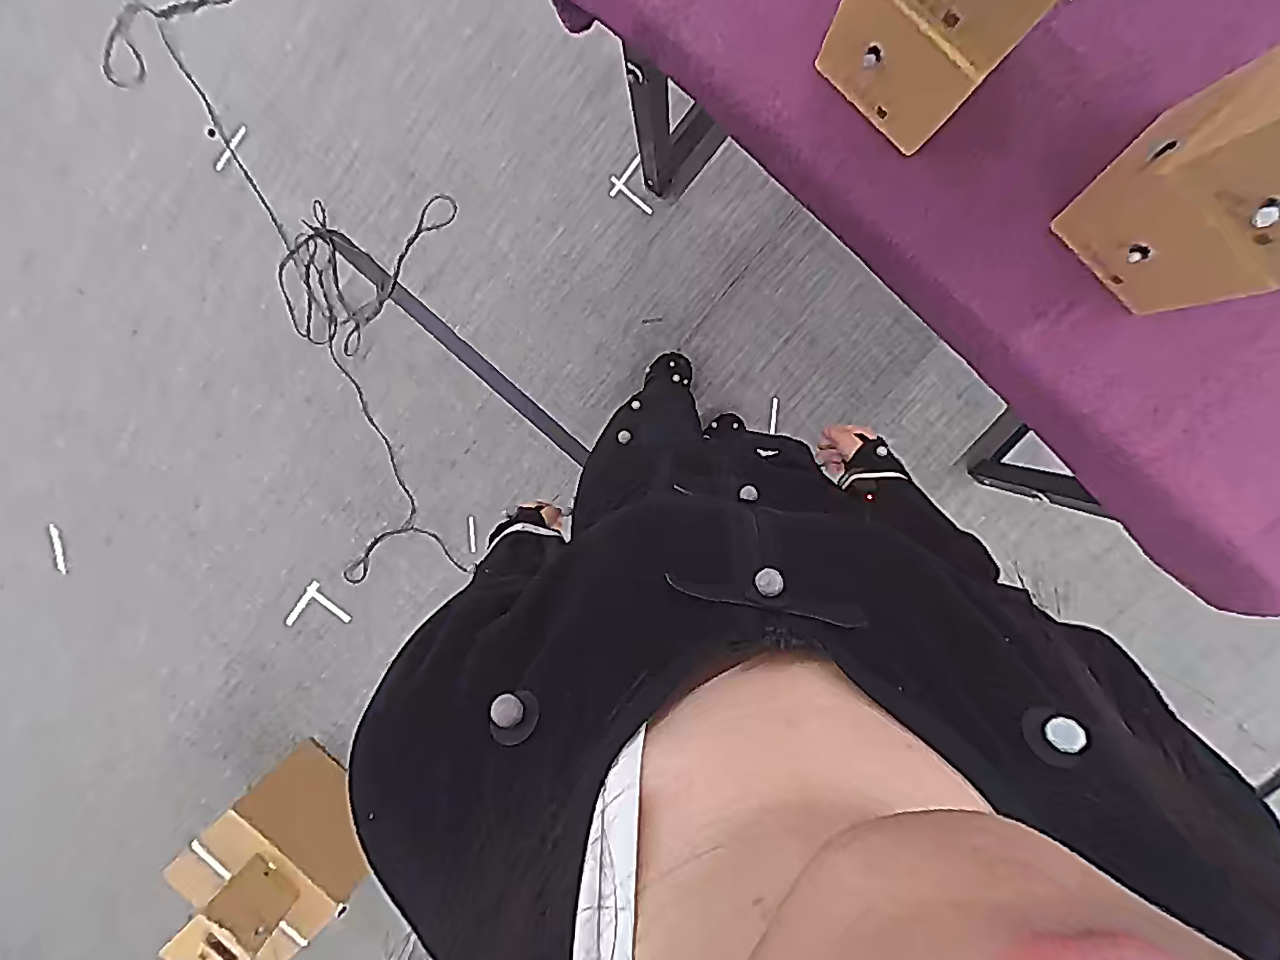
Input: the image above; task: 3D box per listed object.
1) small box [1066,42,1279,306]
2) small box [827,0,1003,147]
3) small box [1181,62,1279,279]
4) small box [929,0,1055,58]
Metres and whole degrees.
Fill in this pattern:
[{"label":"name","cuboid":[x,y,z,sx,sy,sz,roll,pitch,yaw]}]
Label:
[{"label":"small box","cuboid":[0.624,-0.317,0.592,0.168,0.176,0.179,44,98,-4]},{"label":"small box","cuboid":[0.327,-0.512,0.583,0.168,0.176,0.179,42,98,-3]},{"label":"small box","cuboid":[0.618,-0.293,0.430,0.168,0.176,0.179,44,99,-3]},{"label":"small box","cuboid":[0.321,-0.495,0.420,0.168,0.176,0.179,39,98,-3]}]
